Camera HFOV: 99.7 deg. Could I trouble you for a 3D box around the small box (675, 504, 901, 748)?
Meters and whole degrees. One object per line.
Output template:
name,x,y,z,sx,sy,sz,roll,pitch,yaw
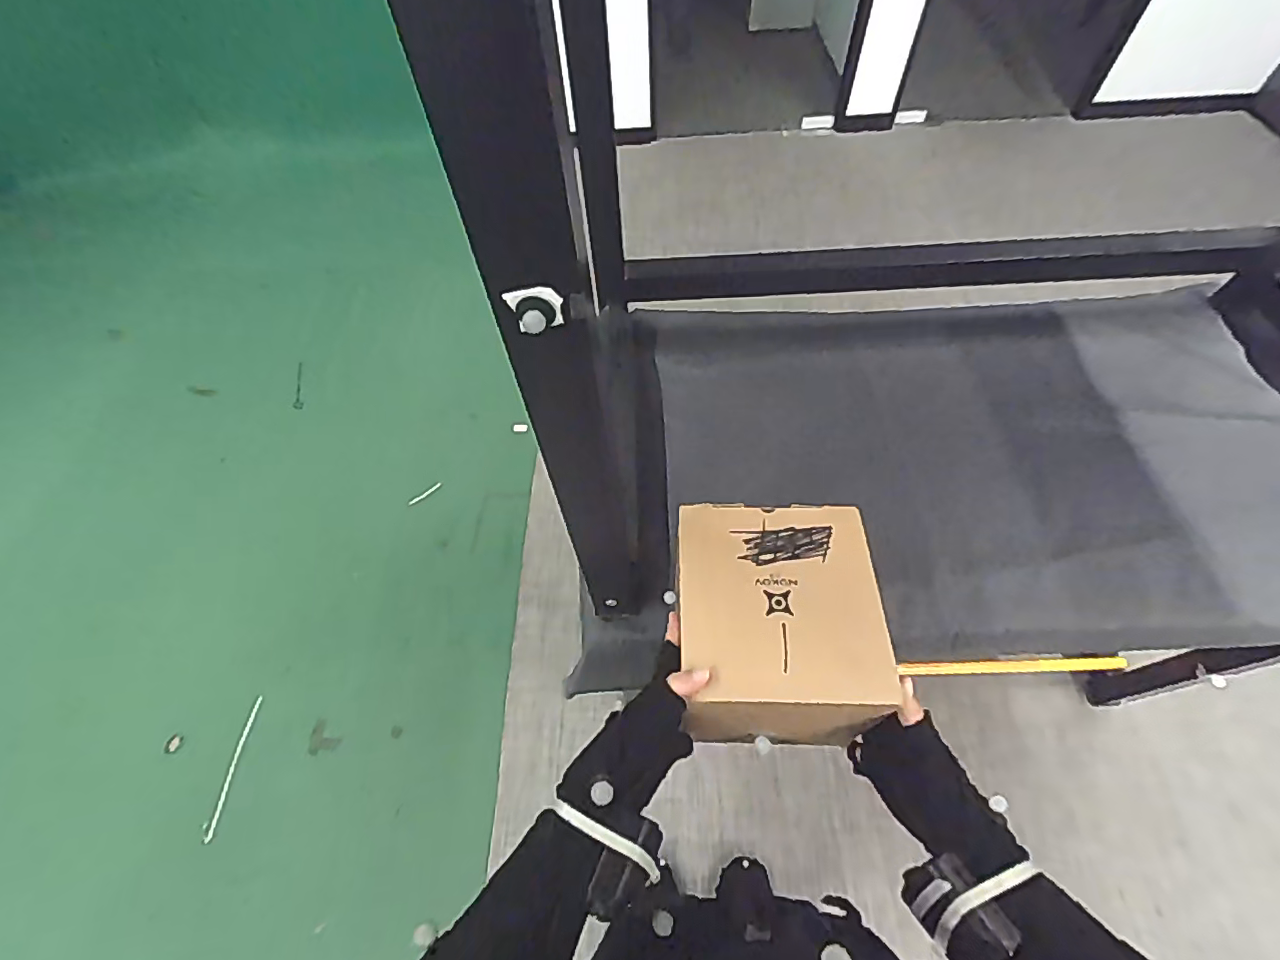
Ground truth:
small box,0.118,0.141,0.514,0.168,0.176,0.179,0,55,3
